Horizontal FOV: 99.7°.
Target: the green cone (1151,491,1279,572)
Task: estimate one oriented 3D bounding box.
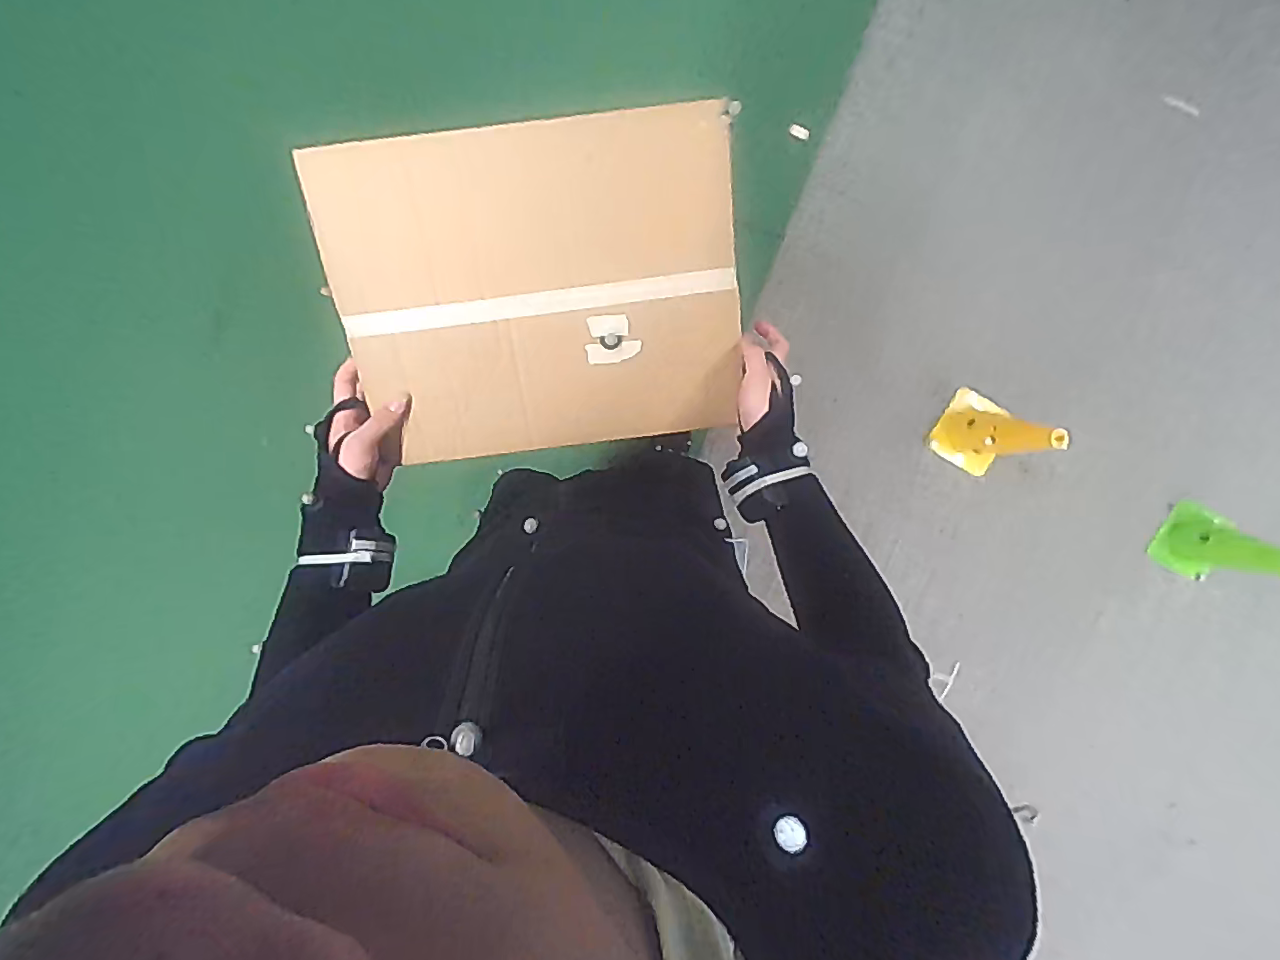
[{"bbox_3d":[1.657,0.175,1.447,0.202,0.368,0.200,26,97,-1],"label":"green cone"}]

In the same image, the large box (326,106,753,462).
[{"bbox_3d":[-0.094,-0.238,0.701,0.408,0.320,0.320,-7,112,-1],"label":"large box"}]
